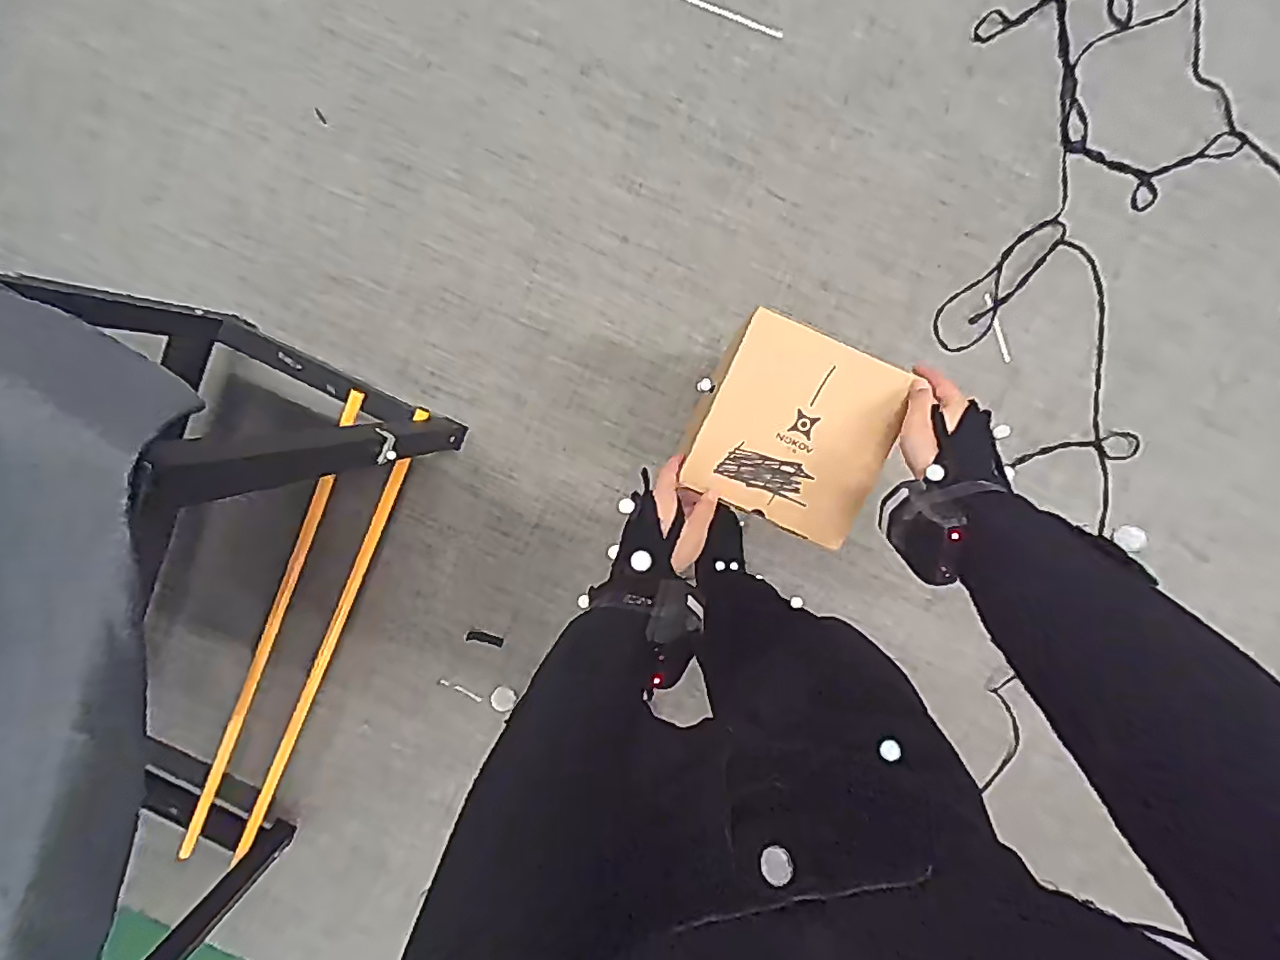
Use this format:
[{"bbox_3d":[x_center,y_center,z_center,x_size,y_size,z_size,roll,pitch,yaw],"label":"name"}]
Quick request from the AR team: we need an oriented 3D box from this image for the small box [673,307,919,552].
[{"bbox_3d":[0.145,-0.053,0.568,0.168,0.176,0.179,25,98,0],"label":"small box"}]
